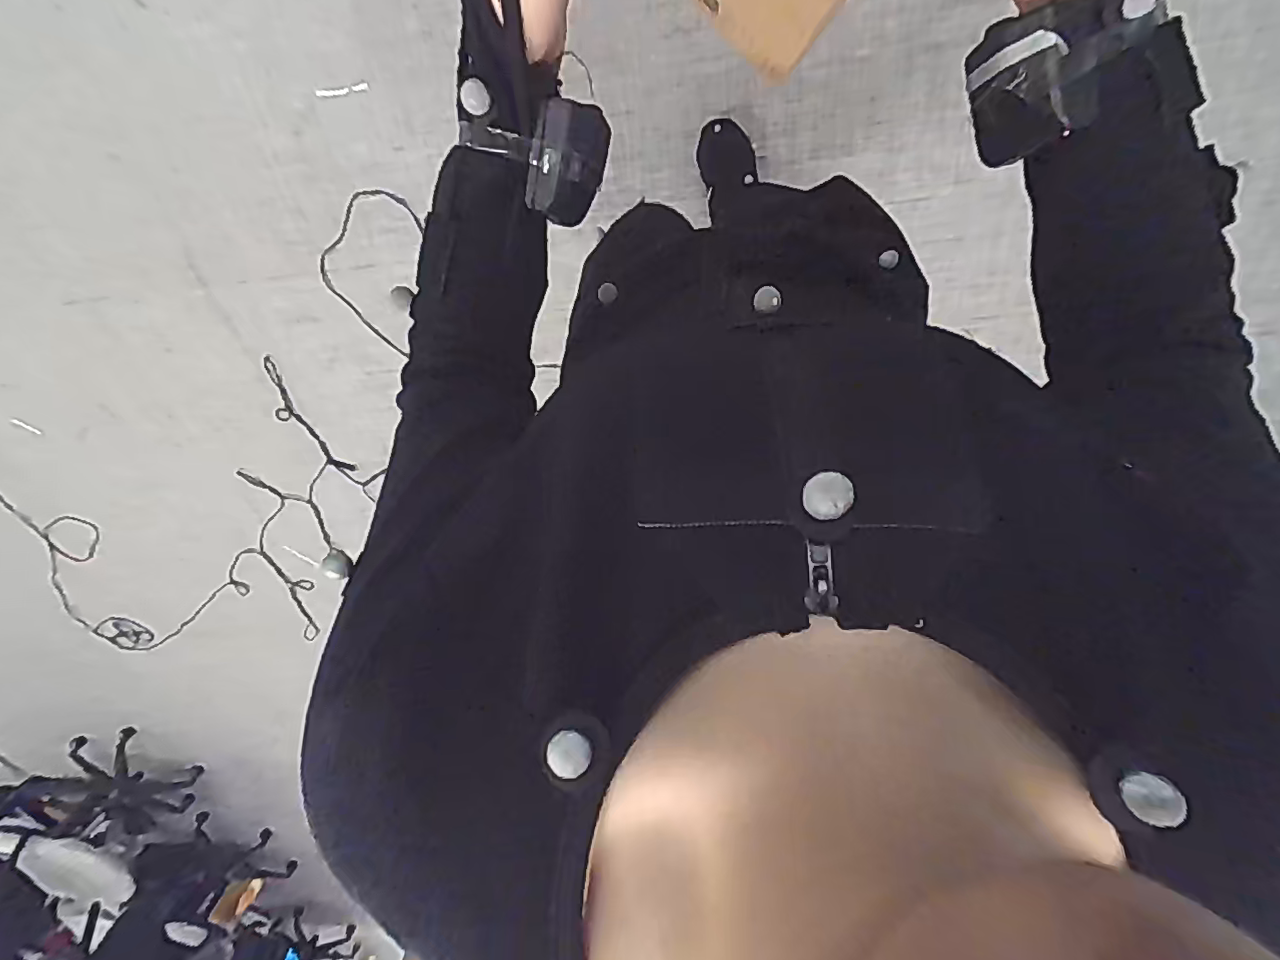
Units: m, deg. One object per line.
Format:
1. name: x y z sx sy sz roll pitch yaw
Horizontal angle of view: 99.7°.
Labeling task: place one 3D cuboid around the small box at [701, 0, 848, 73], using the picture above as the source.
1. small box: 0.076 -0.333 0.233 0.168 0.176 0.179 38 107 -11
